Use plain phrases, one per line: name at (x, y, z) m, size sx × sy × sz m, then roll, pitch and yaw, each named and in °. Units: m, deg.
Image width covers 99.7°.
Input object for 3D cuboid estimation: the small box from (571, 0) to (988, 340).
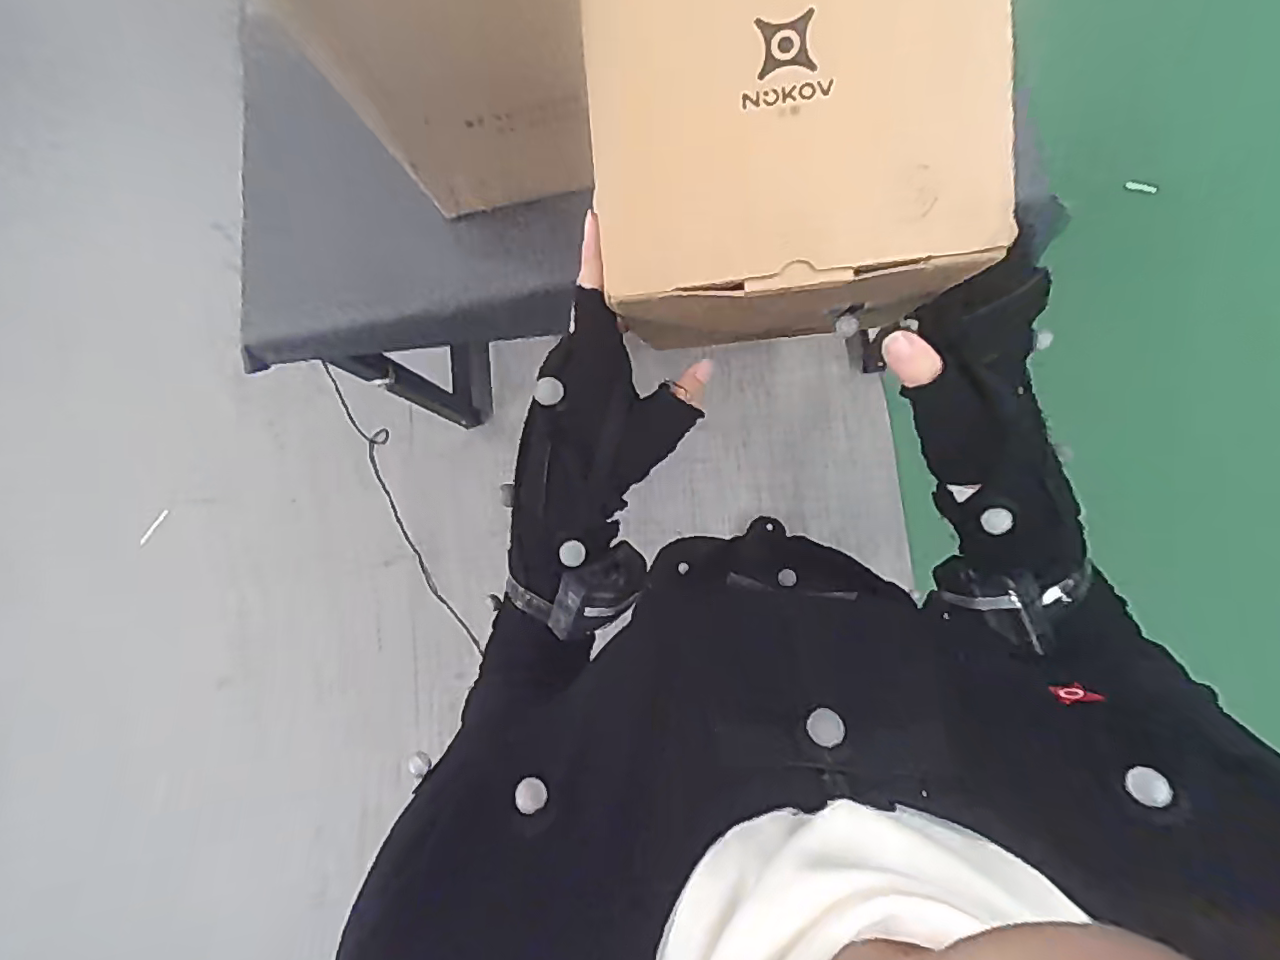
small box at (0.065, -0.179, 0.301) m, size 0.168 × 0.176 × 0.179 m, roll -4°, pitch 95°, yaw 8°
